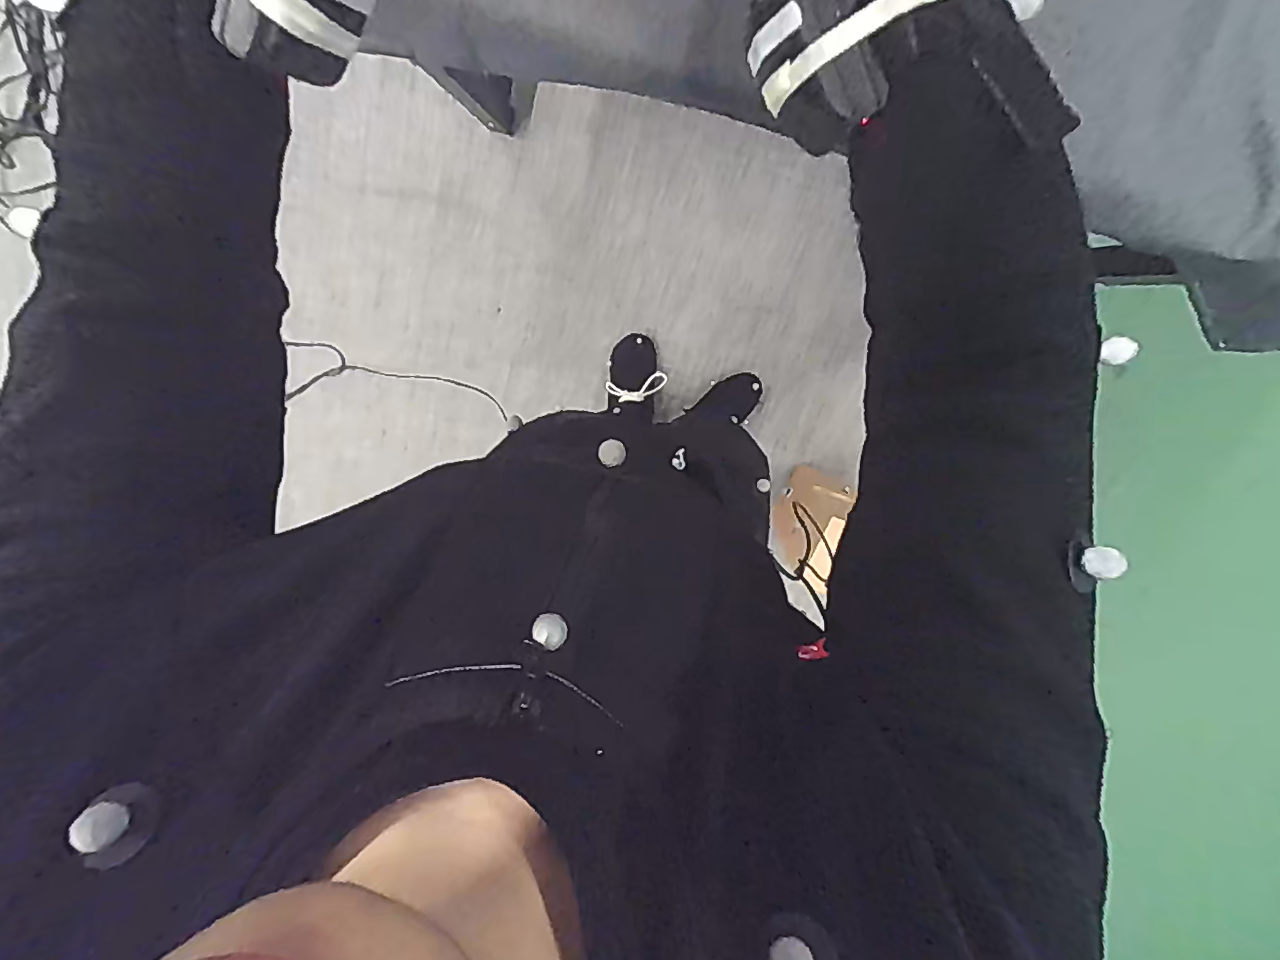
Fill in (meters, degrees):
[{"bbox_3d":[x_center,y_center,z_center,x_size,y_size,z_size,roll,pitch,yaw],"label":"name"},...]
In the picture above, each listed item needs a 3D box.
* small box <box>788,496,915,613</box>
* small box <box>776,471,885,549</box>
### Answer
[{"bbox_3d":[0.446,0.153,1.172,0.179,0.176,0.168,20,107,-3],"label":"small box"},{"bbox_3d":[0.457,0.095,1.326,0.179,0.176,0.168,20,108,-3],"label":"small box"}]
